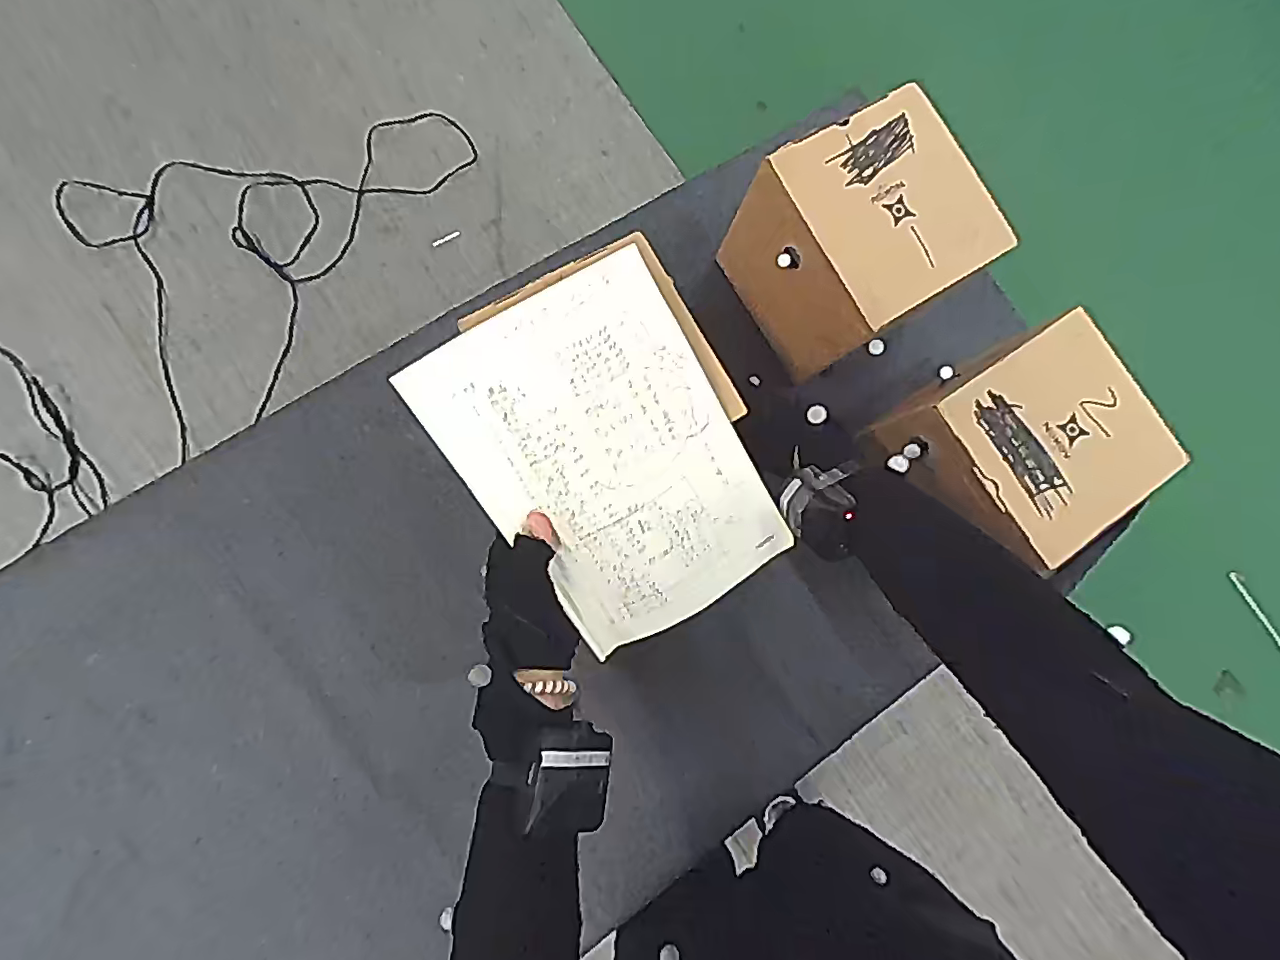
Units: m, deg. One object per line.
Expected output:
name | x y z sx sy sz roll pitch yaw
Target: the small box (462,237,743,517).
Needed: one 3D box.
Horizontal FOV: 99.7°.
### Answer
small box | -0.035 -0.078 0.504 0.168 0.176 0.179 -30 87 -9
